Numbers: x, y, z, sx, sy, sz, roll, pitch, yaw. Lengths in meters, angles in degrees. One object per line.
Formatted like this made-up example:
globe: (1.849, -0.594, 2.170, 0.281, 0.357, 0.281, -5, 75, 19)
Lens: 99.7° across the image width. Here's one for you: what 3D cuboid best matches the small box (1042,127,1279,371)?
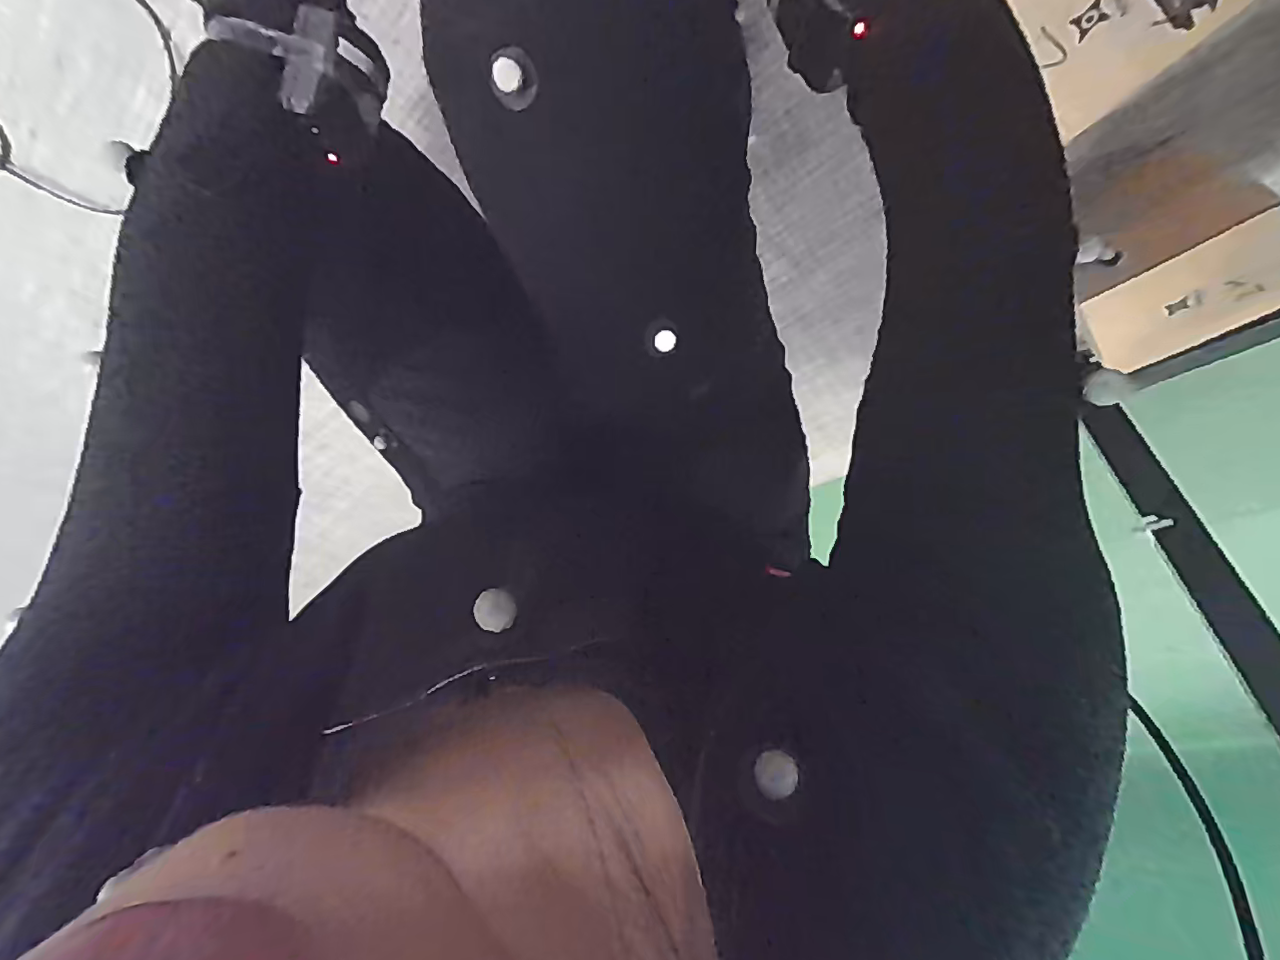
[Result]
small box: (0.630, -0.275, 0.661, 0.168, 0.176, 0.179, 30, 136, -34)
